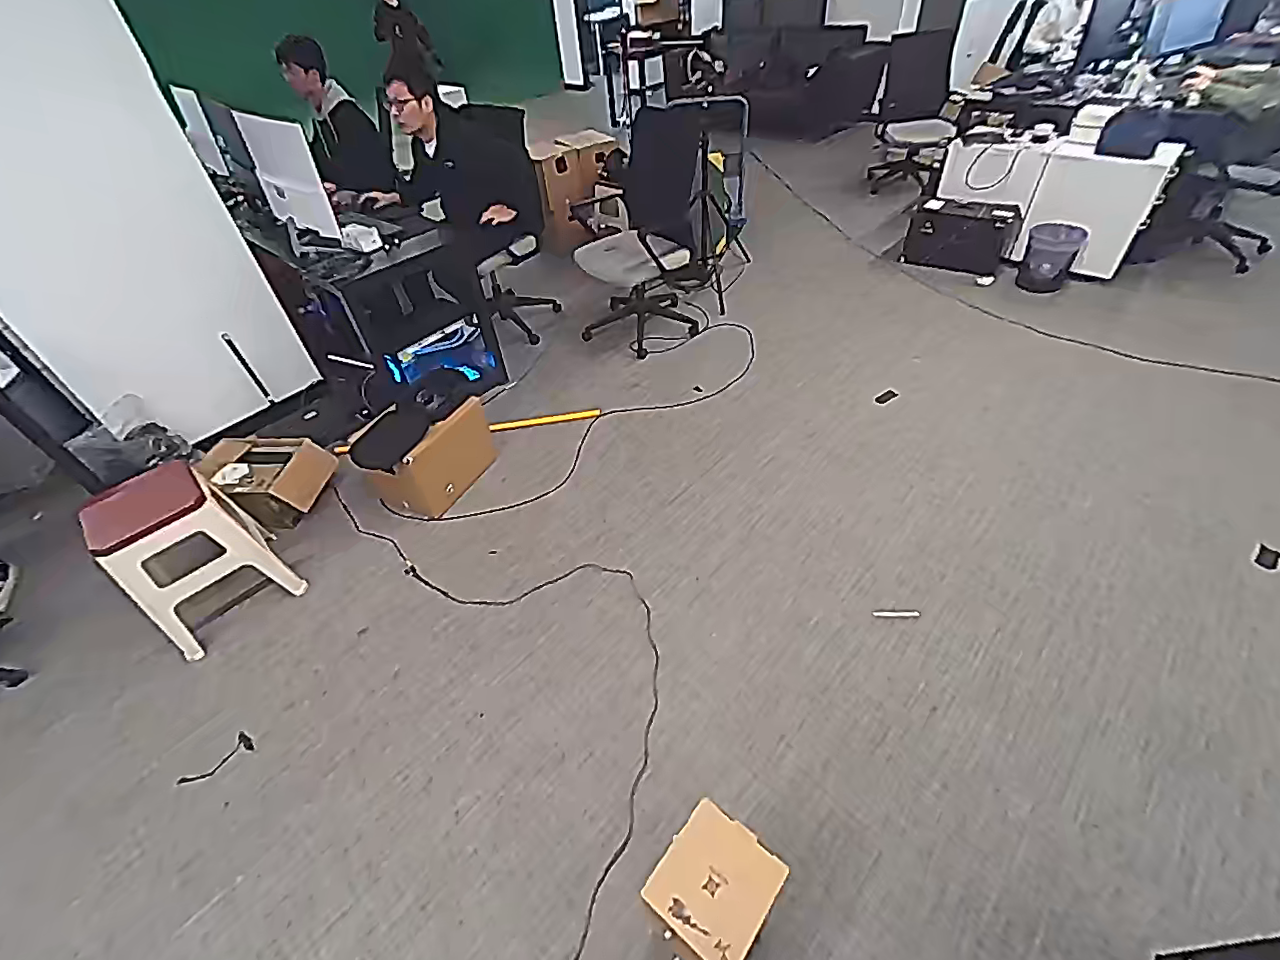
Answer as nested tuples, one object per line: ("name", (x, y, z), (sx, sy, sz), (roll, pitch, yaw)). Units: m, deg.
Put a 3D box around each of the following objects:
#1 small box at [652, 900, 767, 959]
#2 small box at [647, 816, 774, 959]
("small box", (0.141, 0.905, 1.118), (0.168, 0.176, 0.179), (28, 54, 30))
("small box", (0.132, 0.785, 1.010), (0.168, 0.176, 0.179), (26, 51, 27))
